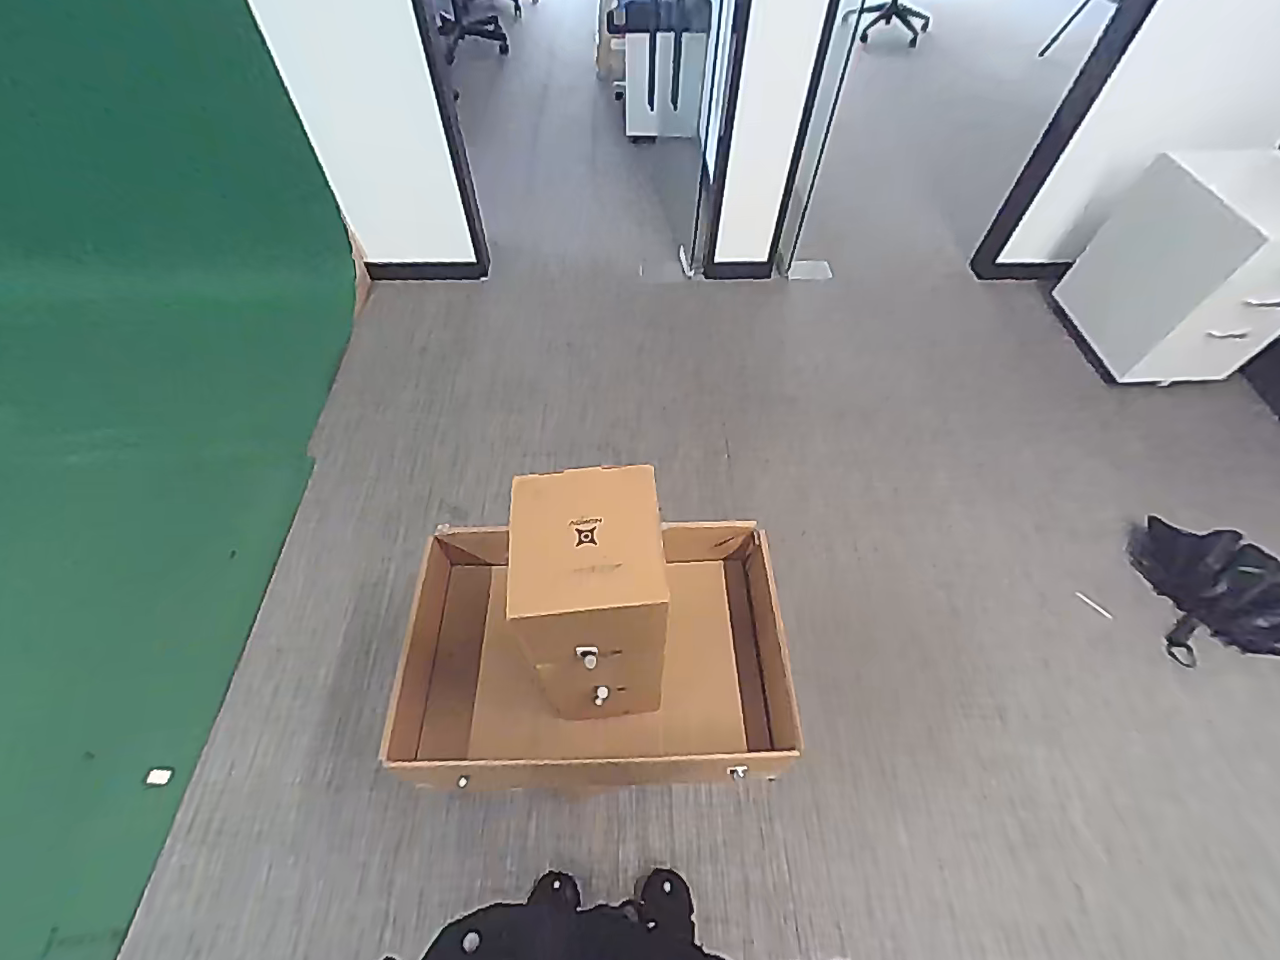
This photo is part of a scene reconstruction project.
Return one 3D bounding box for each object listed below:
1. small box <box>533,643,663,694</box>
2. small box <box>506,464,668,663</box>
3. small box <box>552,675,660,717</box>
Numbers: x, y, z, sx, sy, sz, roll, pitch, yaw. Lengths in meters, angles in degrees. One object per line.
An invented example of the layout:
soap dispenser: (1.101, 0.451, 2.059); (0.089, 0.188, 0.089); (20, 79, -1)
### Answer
small box: (-0.061, 0.196, 0.787); (0.168, 0.176, 0.179); (-5, 56, -3)
small box: (-0.061, 0.103, 0.655); (0.168, 0.176, 0.179); (-6, 56, -3)
small box: (-0.059, 0.286, 0.924); (0.168, 0.176, 0.179); (-6, 54, -3)
